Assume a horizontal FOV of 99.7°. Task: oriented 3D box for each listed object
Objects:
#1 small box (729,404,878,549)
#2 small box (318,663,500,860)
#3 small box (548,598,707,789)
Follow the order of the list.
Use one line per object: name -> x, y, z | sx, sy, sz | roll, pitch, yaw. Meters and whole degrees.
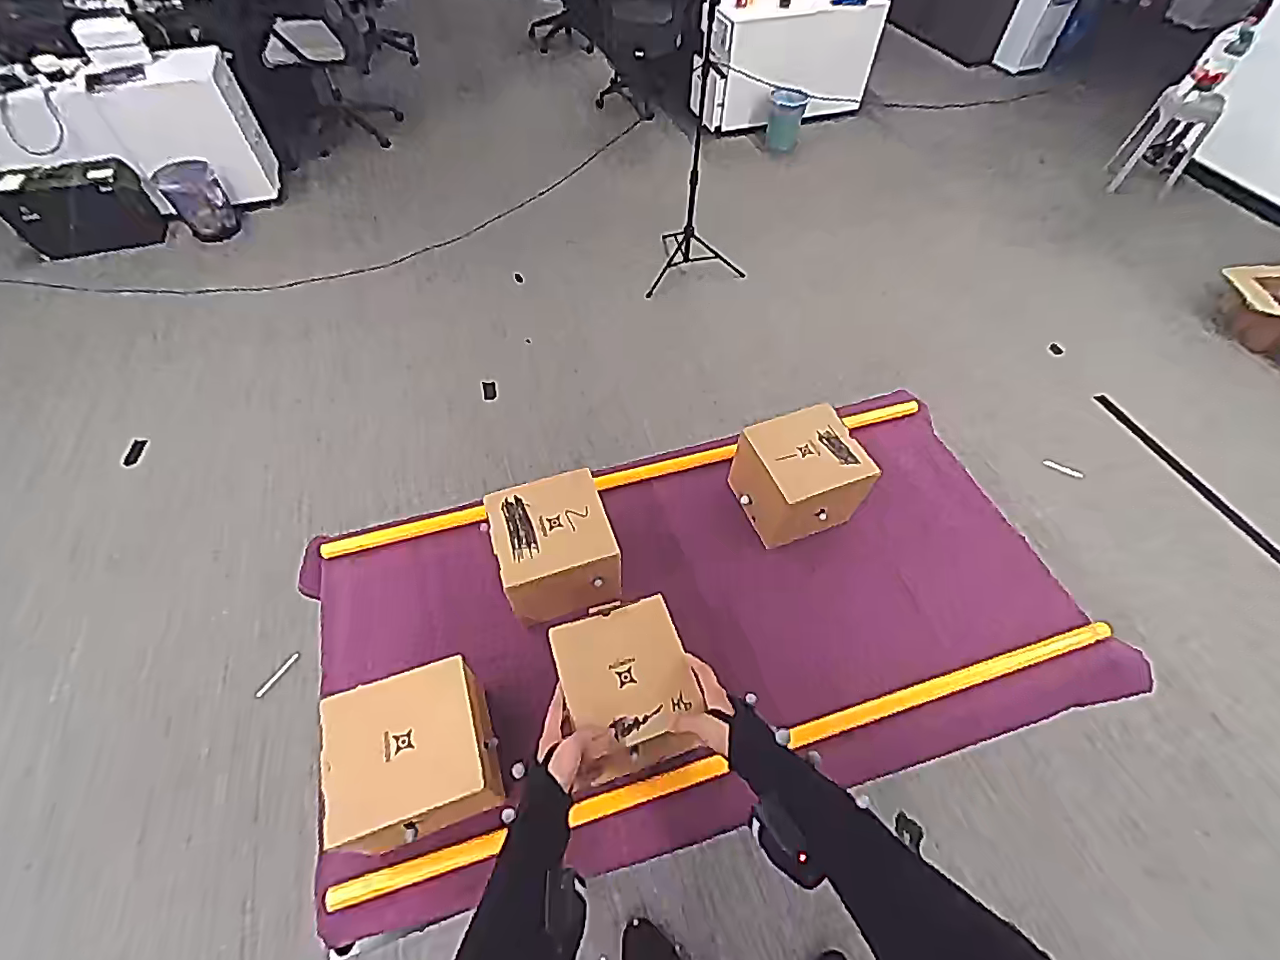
small box -> 0.278, -0.003, 0.961 | 0.179, 0.176, 0.168 | -18, 58, -11
small box -> -0.288, 0.364, 0.701 | 0.179, 0.176, 0.168 | -16, 56, -13
small box -> -0.021, 0.297, 0.749 | 0.168, 0.176, 0.179 | -16, 53, -10
